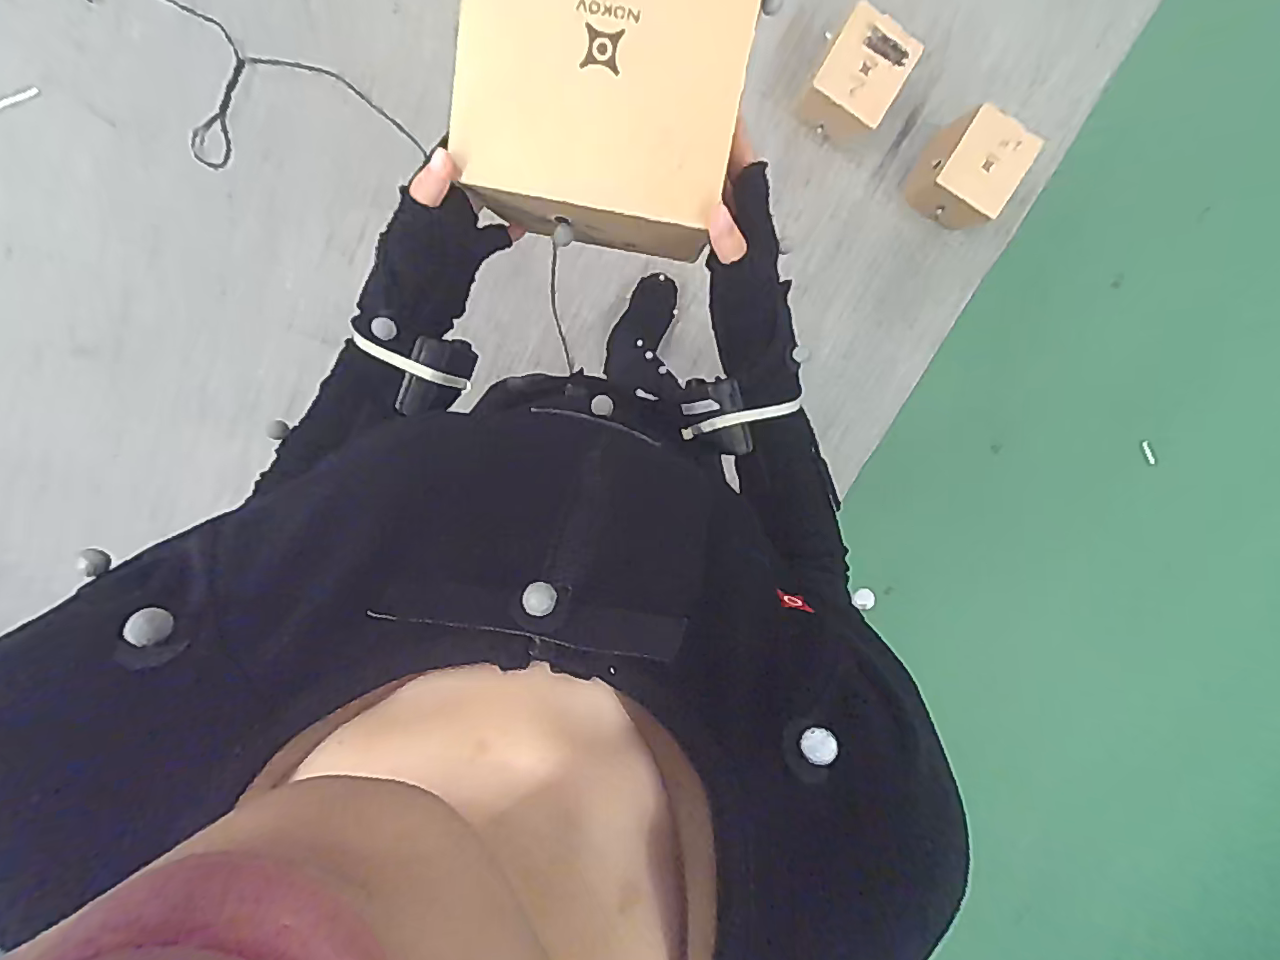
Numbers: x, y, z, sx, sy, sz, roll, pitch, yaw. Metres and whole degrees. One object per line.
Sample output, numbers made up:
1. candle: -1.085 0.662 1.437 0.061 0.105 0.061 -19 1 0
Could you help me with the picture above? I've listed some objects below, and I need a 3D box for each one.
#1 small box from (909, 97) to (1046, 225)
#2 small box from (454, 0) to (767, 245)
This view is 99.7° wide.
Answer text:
1. small box: 0.745 -0.705 1.222 0.168 0.176 0.179 27 104 -9
2. small box: -0.012 -0.274 0.372 0.168 0.176 0.179 10 106 -1
